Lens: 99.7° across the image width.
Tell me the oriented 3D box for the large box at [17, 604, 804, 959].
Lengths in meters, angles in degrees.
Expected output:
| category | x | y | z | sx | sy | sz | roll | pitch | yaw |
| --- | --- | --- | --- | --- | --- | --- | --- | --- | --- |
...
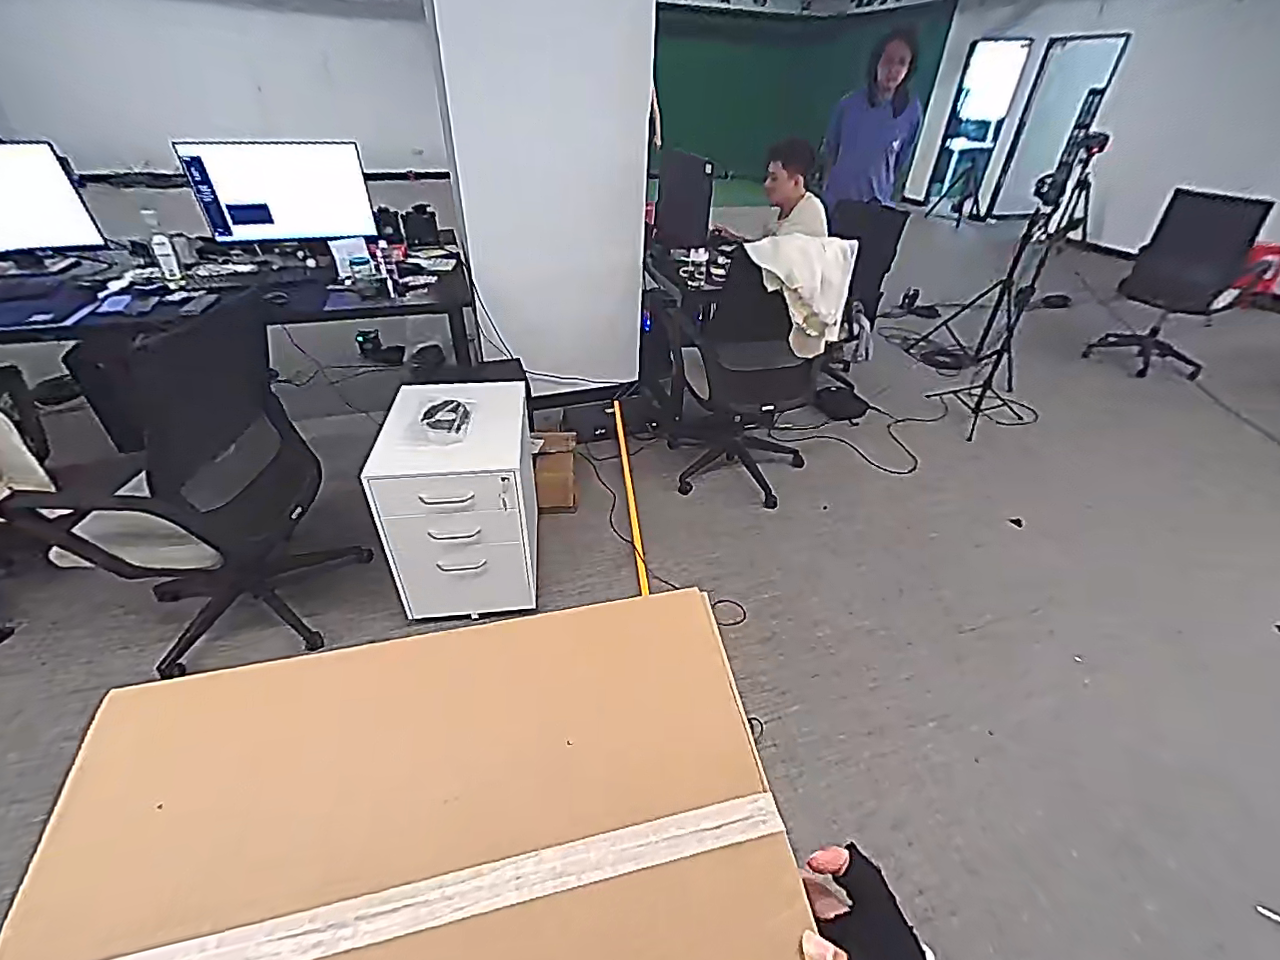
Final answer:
| category | x | y | z | sx | sy | sz | roll | pitch | yaw |
| --- | --- | --- | --- | --- | --- | --- | --- | --- | --- |
| large box | -0.123 | 0.334 | 0.407 | 0.408 | 0.320 | 0.320 | -8 | 49 | -10 |
